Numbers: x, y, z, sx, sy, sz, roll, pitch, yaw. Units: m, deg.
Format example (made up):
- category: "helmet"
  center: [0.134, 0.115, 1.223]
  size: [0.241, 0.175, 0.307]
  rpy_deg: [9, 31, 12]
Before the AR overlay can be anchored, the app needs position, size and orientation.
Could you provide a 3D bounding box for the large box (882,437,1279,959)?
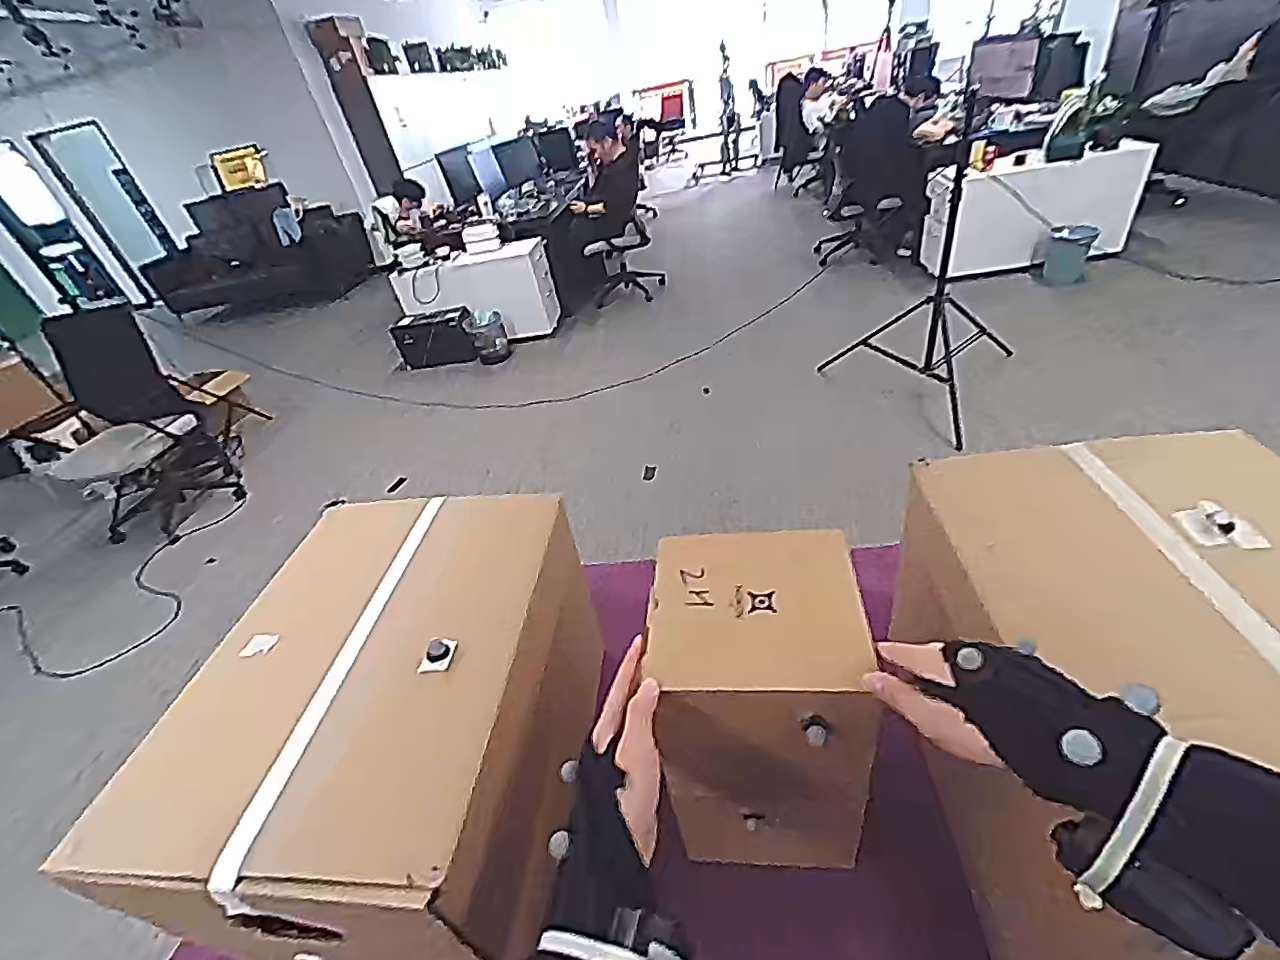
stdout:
- category: "large box"
  center: [0.449, 0.208, 0.495]
  size: [0.320, 0.320, 0.408]
  rpy_deg: [-5, 35, 8]
